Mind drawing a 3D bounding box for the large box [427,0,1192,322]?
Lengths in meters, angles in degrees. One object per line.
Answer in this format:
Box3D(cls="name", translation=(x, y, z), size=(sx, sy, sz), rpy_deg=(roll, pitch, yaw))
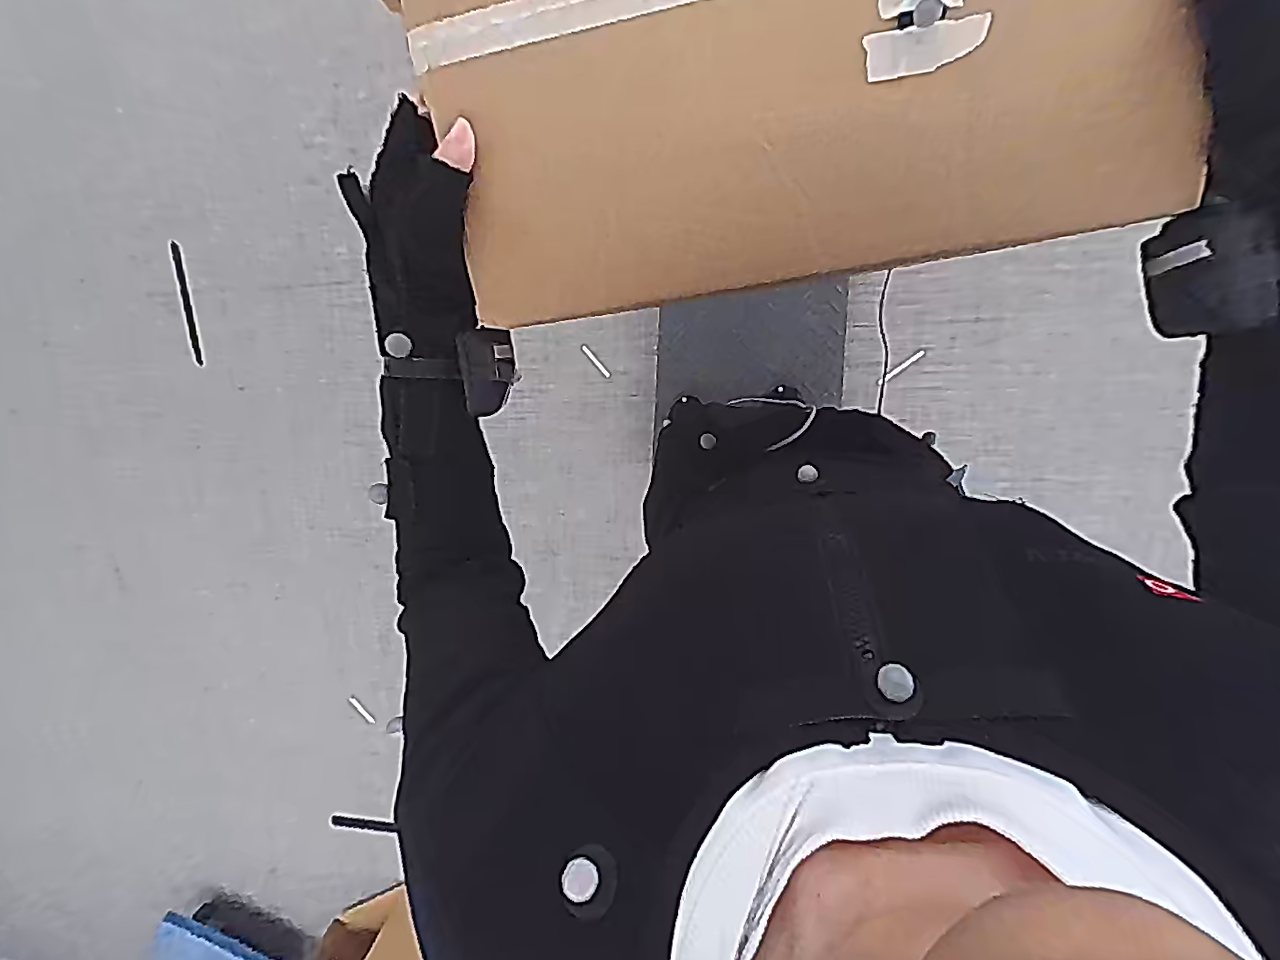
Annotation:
Box3D(cls="large box", translation=(0.091, -0.321, 0.430), size=(0.408, 0.320, 0.320), rpy_deg=(-7, 108, 10))
